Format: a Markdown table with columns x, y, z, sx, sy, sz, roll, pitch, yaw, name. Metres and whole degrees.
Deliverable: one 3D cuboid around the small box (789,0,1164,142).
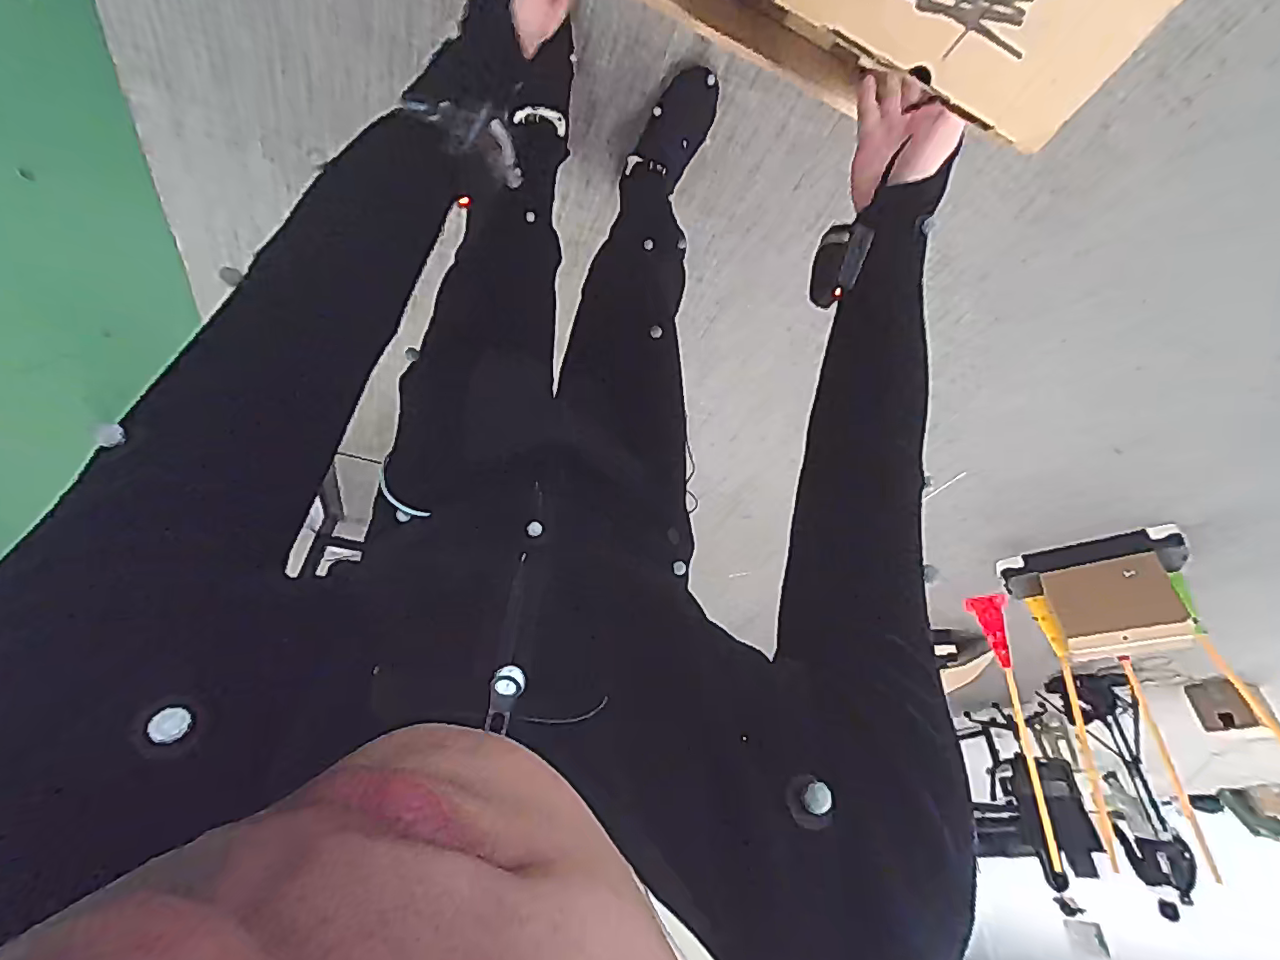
| x | y | z | sx | sy | sz | roll | pitch | yaw | name |
| --- | --- | --- | --- | --- | --- | --- | --- | --- | --- |
| 0.168 | -0.310 | 0.246 | 0.168 | 0.176 | 0.179 | 15 | 142 | -18 | small box |
